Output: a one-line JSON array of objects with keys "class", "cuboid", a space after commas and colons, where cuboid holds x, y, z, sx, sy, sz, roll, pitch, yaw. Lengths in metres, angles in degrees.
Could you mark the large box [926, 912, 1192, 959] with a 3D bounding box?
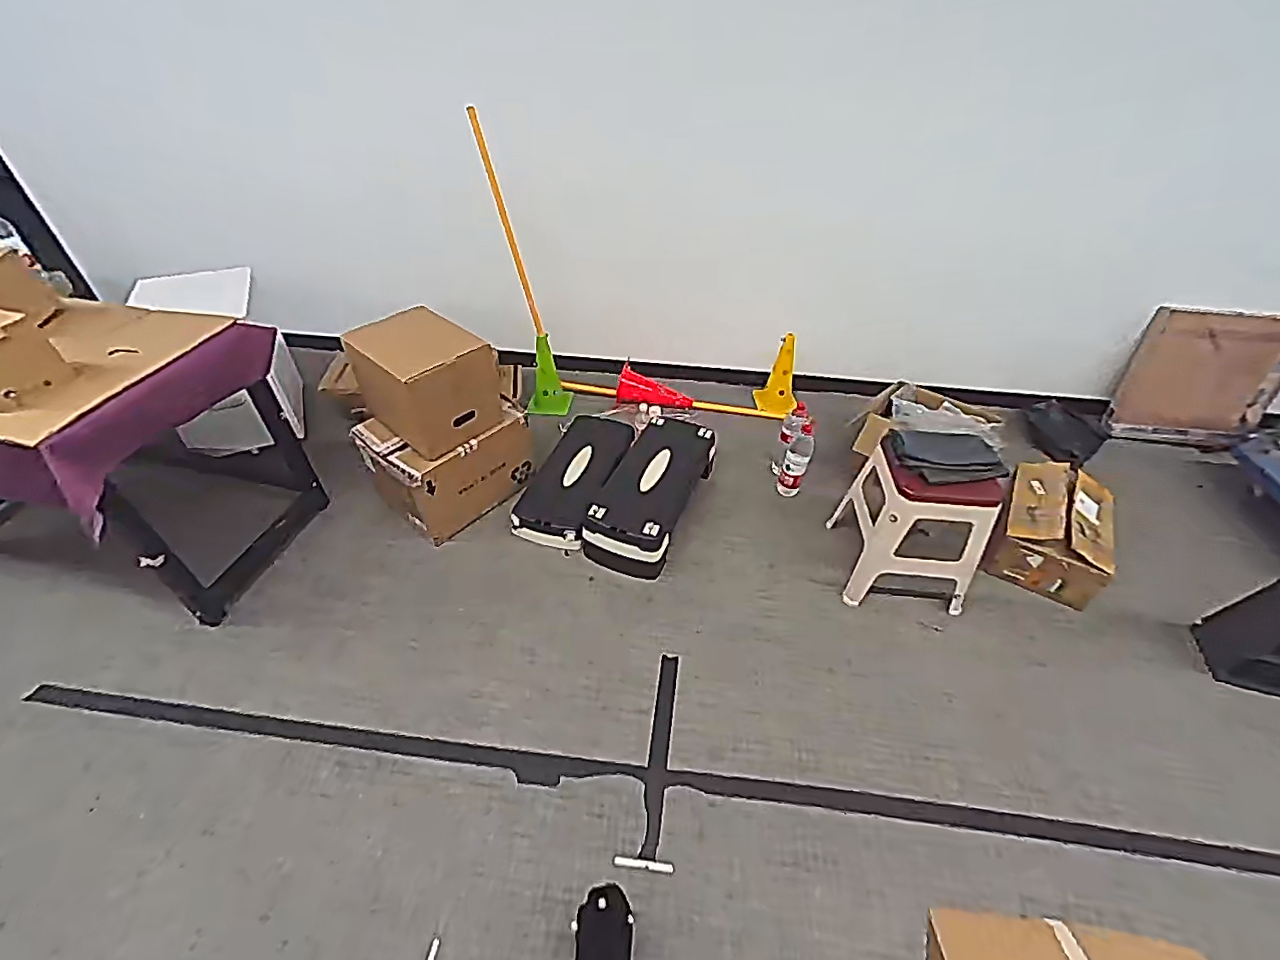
[{"class": "large box", "cuboid": [0.502, 0.764, 0.536, 0.320, 0.320, 0.408, 0, 7, 12]}]
